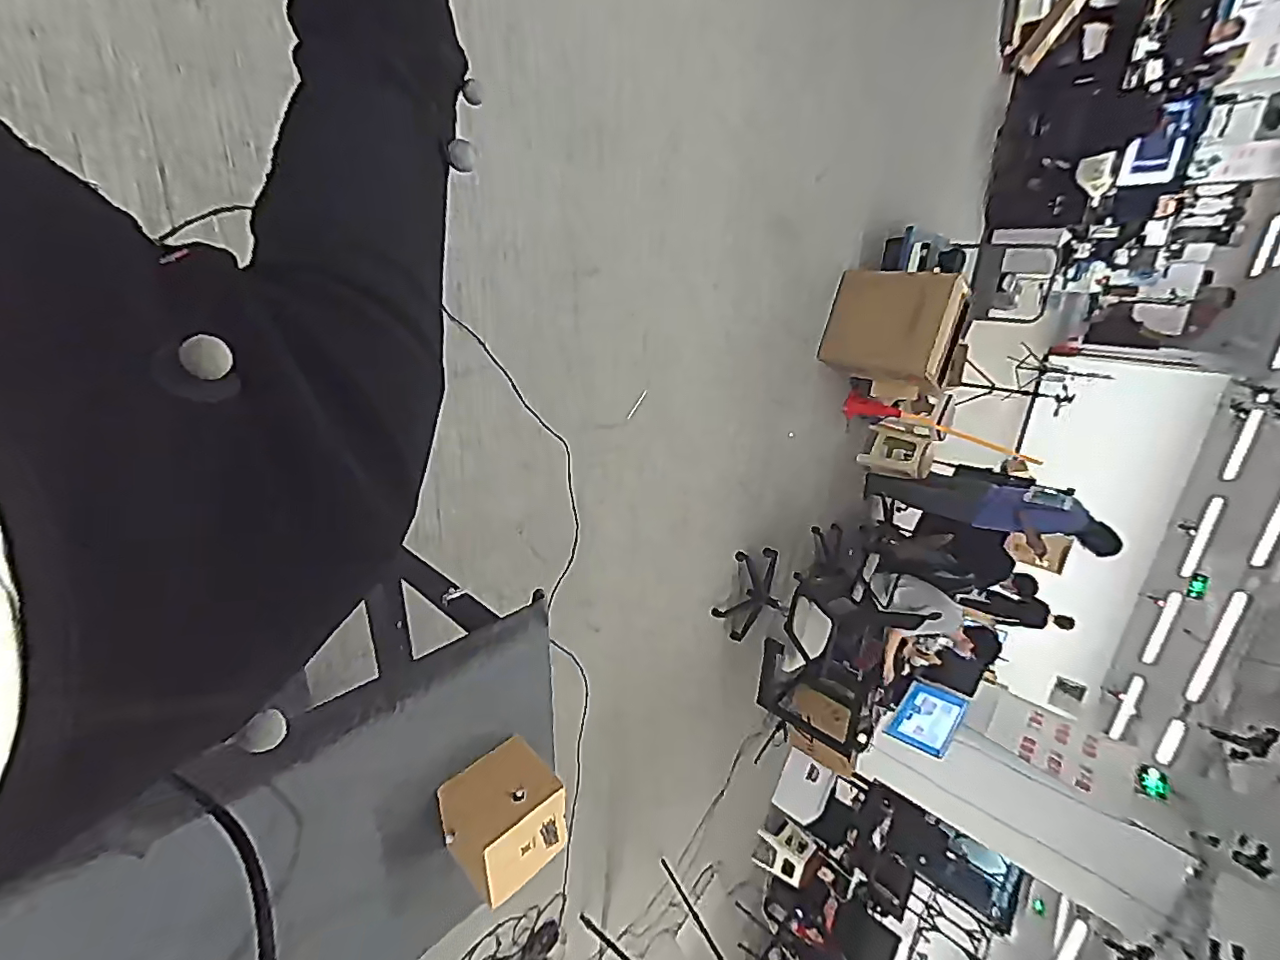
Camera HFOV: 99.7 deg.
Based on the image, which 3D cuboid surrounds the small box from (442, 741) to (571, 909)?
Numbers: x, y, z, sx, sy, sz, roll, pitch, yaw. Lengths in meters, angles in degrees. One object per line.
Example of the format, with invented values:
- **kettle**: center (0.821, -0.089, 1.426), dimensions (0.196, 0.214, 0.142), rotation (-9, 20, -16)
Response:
- **small box**: center (-0.255, 0.650, 1.045), dimensions (0.179, 0.176, 0.168), rotation (-21, 120, -42)
